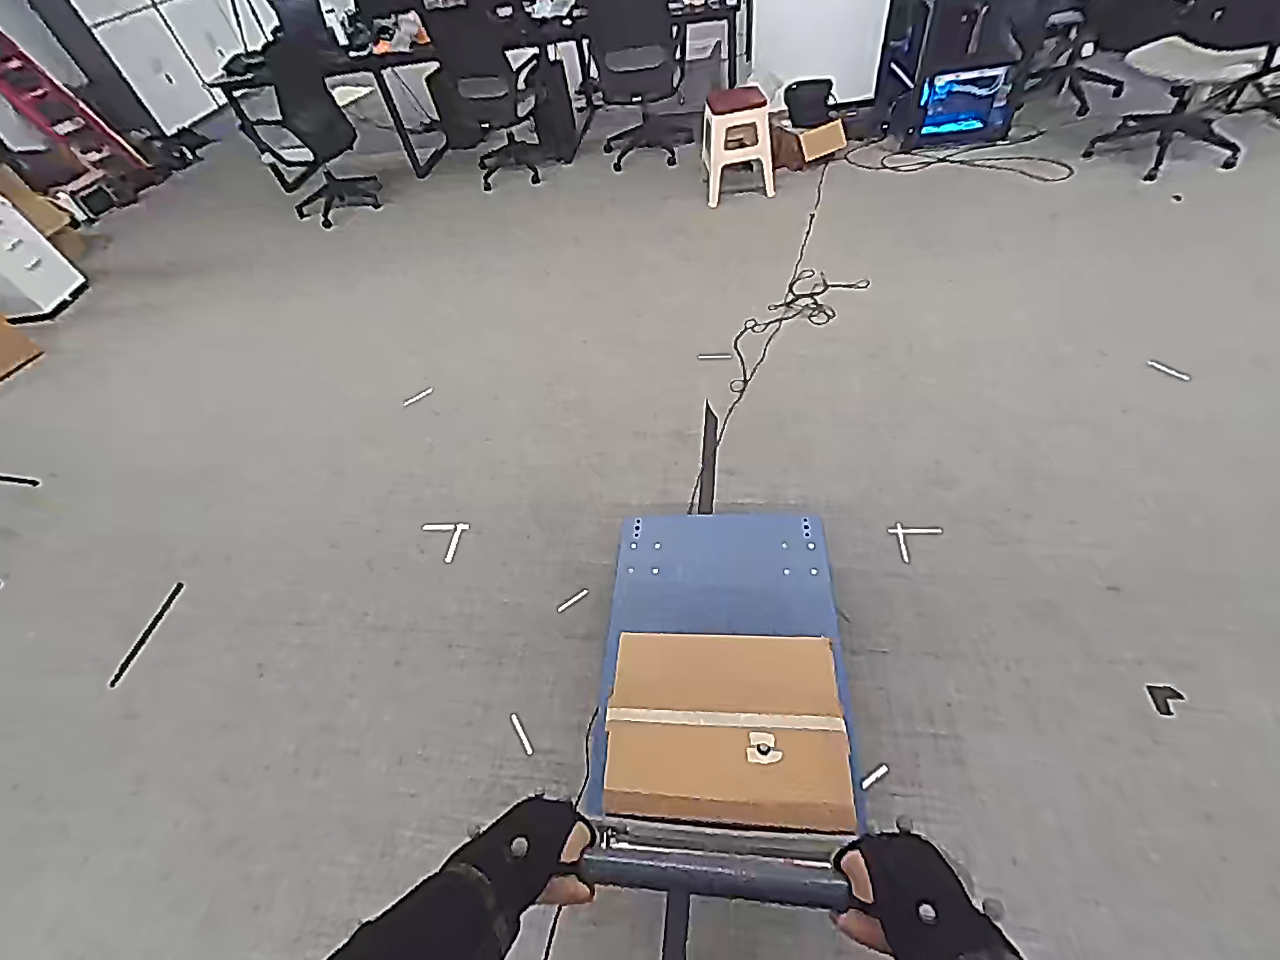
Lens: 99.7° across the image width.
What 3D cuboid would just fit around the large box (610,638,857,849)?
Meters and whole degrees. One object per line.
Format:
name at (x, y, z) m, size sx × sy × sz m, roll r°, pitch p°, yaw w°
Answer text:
large box at (0.171, 0.525, 1.076) m, size 0.408 × 0.320 × 0.320 m, roll -1°, pitch 51°, yaw 8°
